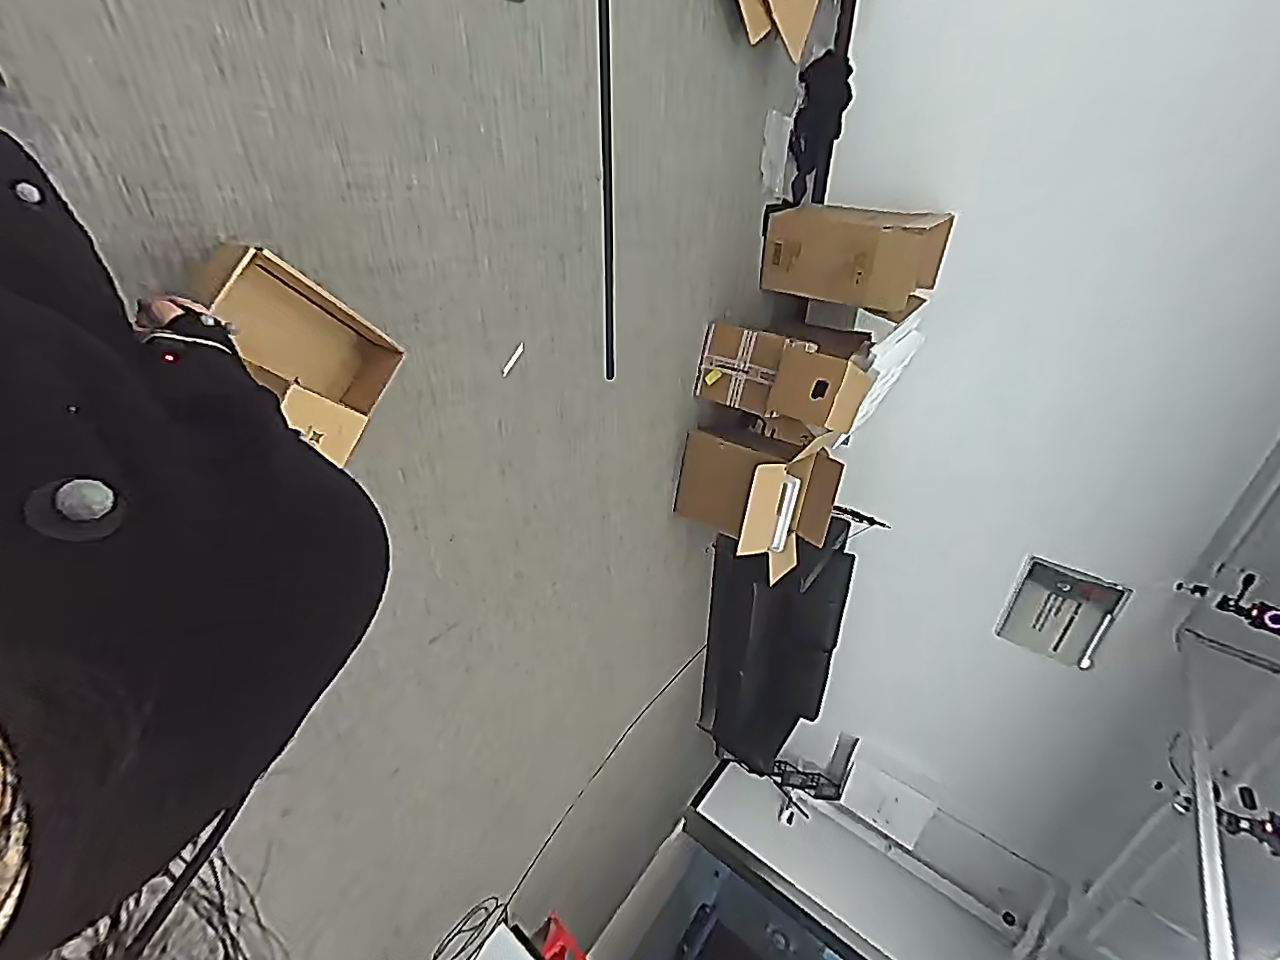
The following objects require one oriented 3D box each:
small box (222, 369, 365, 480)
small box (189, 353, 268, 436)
[{"bbox_3d":[-0.740,-0.121,1.153,0.168,0.176,0.179,-64,149,-3],"label":"small box"},{"bbox_3d":[-0.871,-0.170,1.236,0.168,0.176,0.179,-63,147,-8],"label":"small box"}]
